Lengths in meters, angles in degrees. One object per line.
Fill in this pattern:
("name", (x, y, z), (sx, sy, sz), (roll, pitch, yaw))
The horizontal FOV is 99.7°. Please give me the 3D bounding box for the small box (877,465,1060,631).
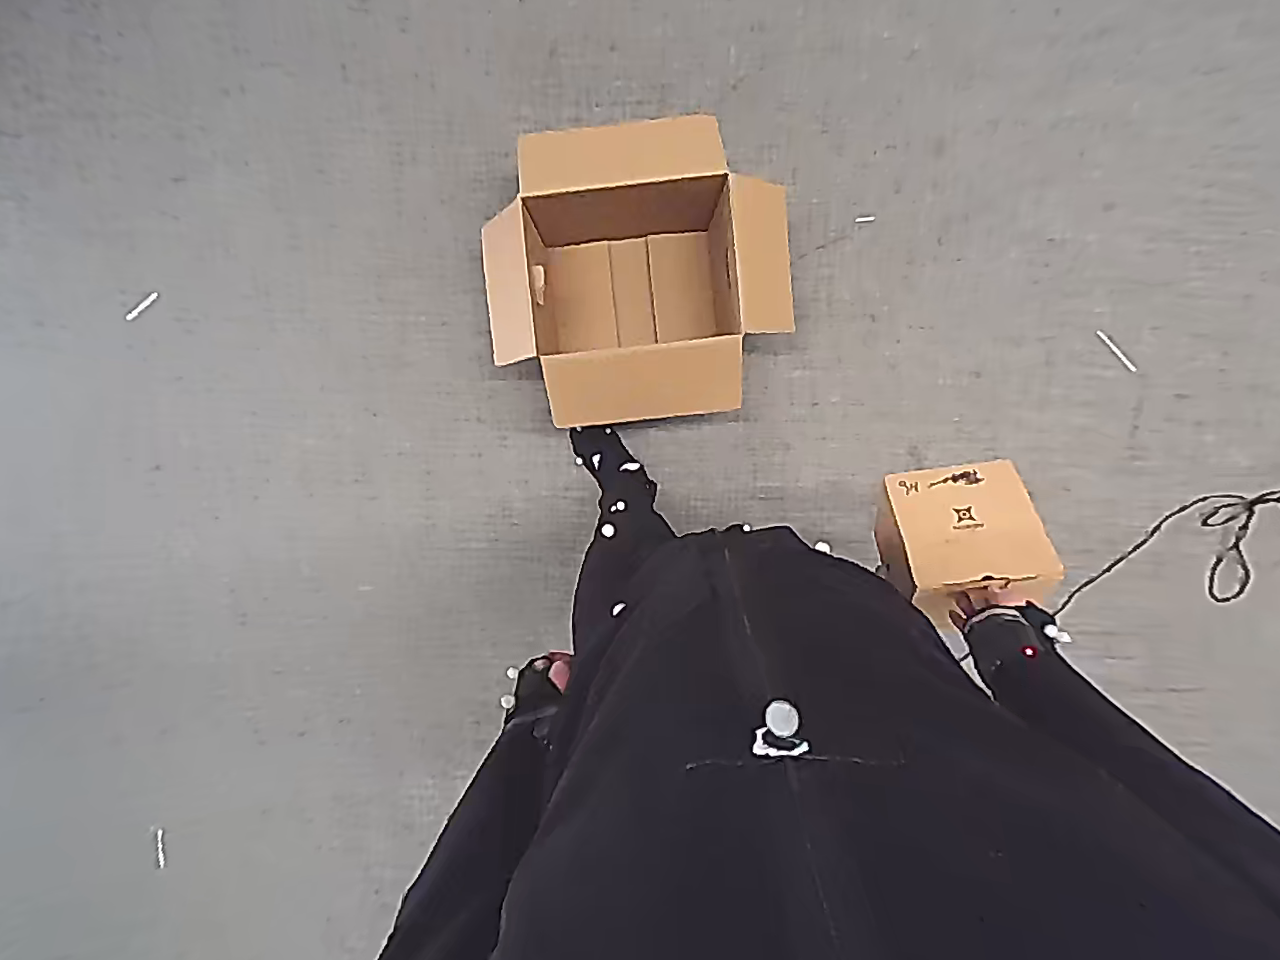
("small box", (0.441, 0.105, 0.761), (0.168, 0.176, 0.179), (-6, 52, 14))
